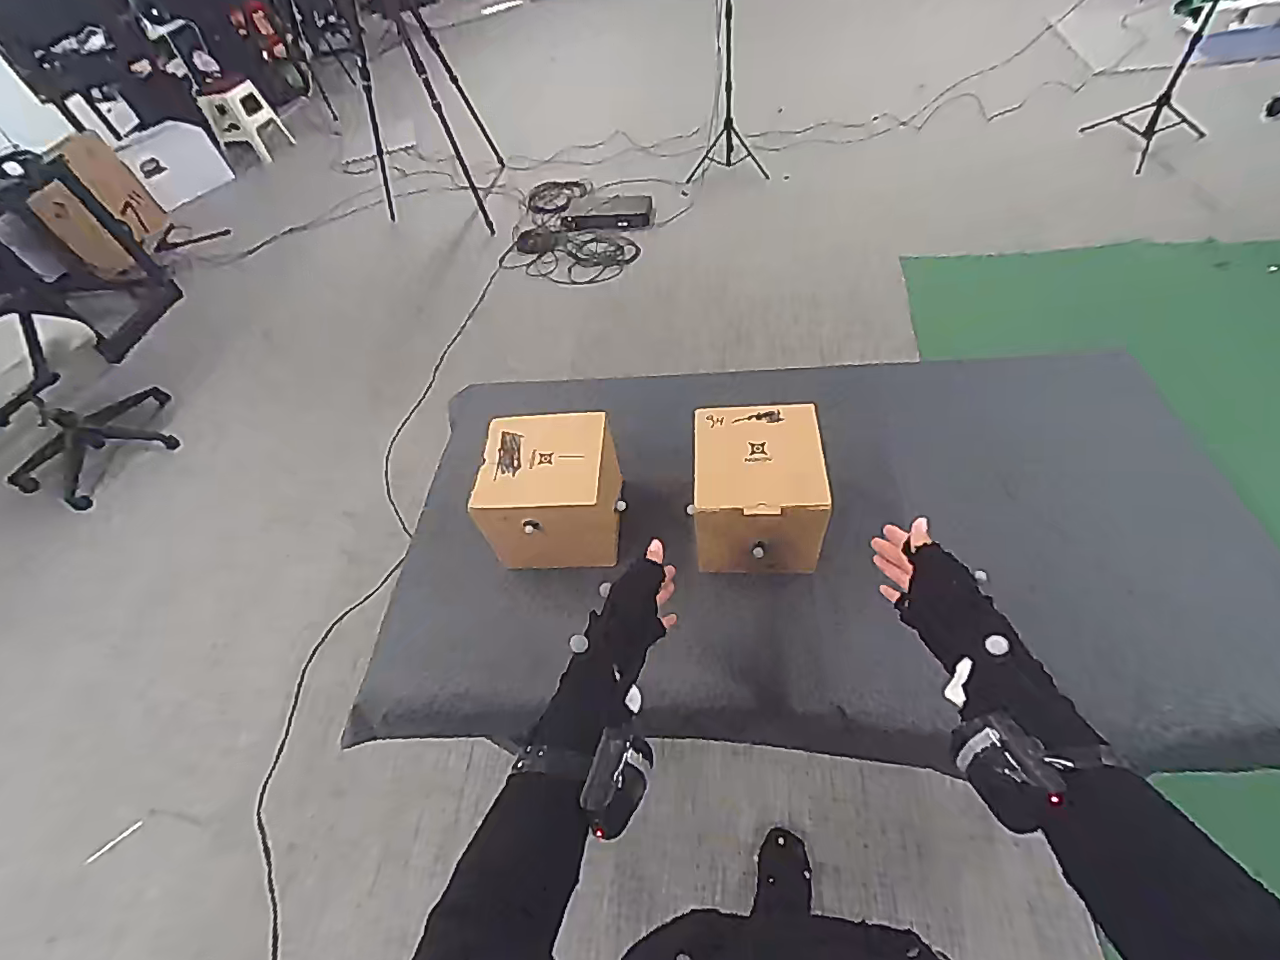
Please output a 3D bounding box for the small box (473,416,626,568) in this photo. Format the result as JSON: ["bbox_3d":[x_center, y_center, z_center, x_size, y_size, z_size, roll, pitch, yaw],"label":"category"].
[{"bbox_3d":[-0.123,0.023,0.817,0.179,0.176,0.168,-2,53,7],"label":"small box"}]

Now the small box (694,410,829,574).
[{"bbox_3d":[0.167,0.023,0.772,0.168,0.176,0.179,-1,53,9],"label":"small box"}]
